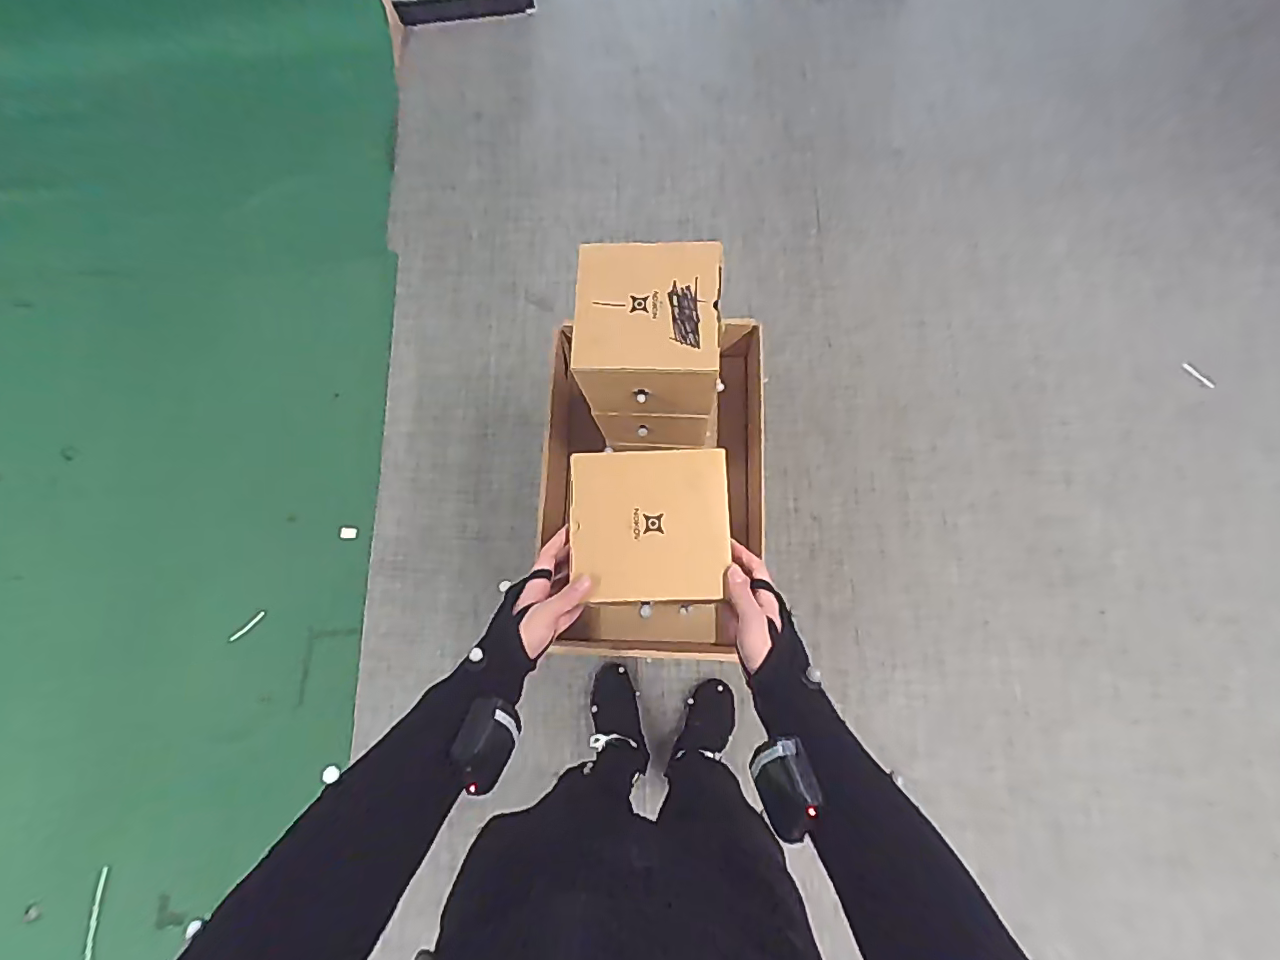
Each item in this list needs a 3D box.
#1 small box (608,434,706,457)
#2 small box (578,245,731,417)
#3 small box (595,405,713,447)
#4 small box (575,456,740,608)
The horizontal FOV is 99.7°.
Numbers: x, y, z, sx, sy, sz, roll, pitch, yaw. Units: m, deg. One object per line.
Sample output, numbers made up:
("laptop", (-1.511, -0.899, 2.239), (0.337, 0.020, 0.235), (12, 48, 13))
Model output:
("small box", (0.041, -0.118, 1.040), (0.179, 0.176, 0.168), (4, 79, 3))
("small box", (0.023, -0.187, 0.719), (0.179, 0.176, 0.168), (3, 79, 5))
("small box", (0.033, -0.154, 0.880), (0.179, 0.176, 0.168), (3, 80, 5))
("small box", (0.021, 0.070, 0.663), (0.179, 0.176, 0.168), (-1, 76, 3))
